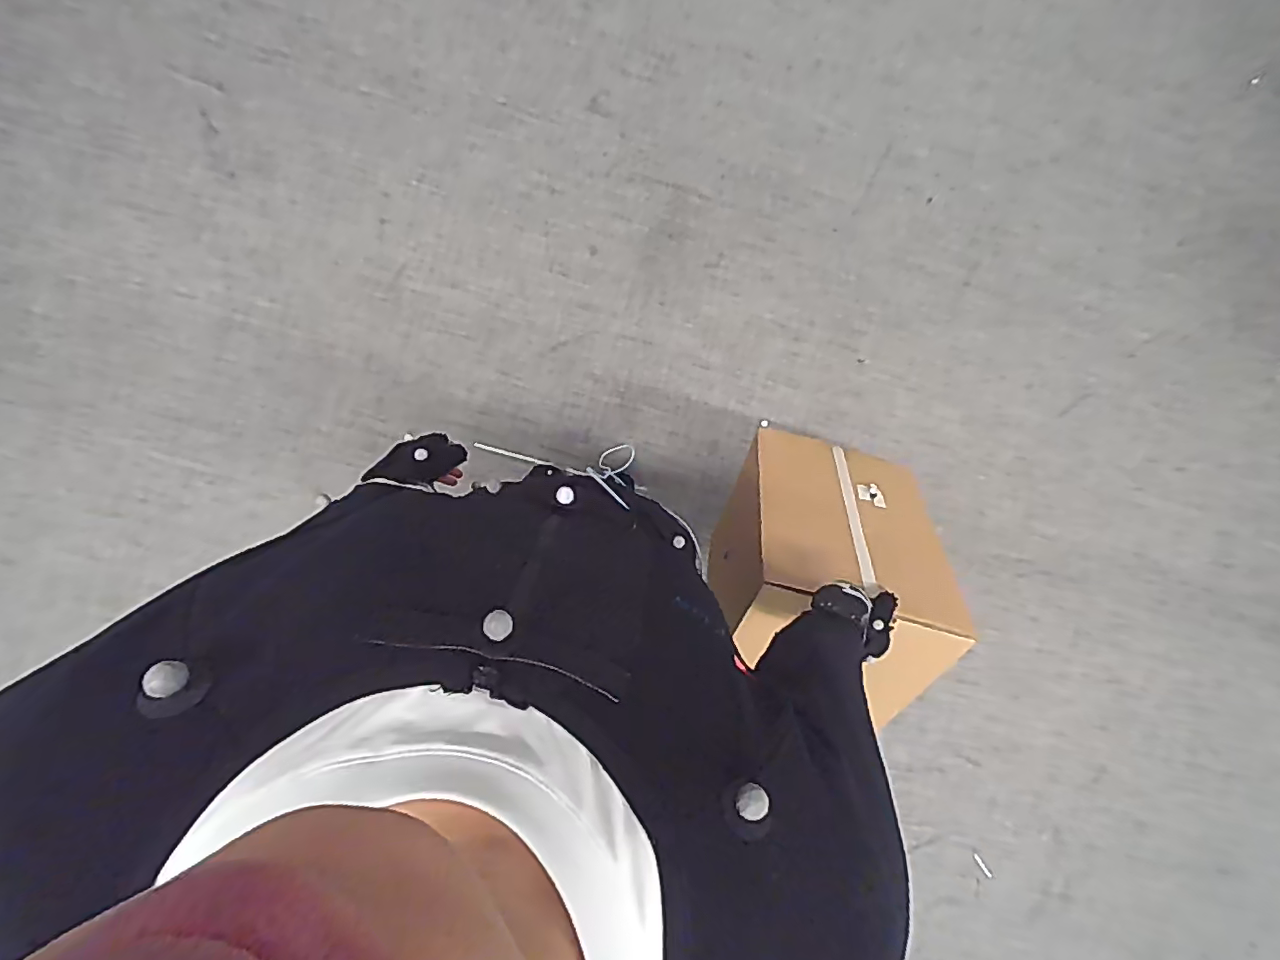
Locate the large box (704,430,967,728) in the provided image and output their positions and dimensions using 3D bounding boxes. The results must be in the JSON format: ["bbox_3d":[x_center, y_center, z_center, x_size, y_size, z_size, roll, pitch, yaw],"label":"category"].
[{"bbox_3d":[0.313,0.174,1.004,0.320,0.408,0.320,17,129,-2],"label":"large box"}]
